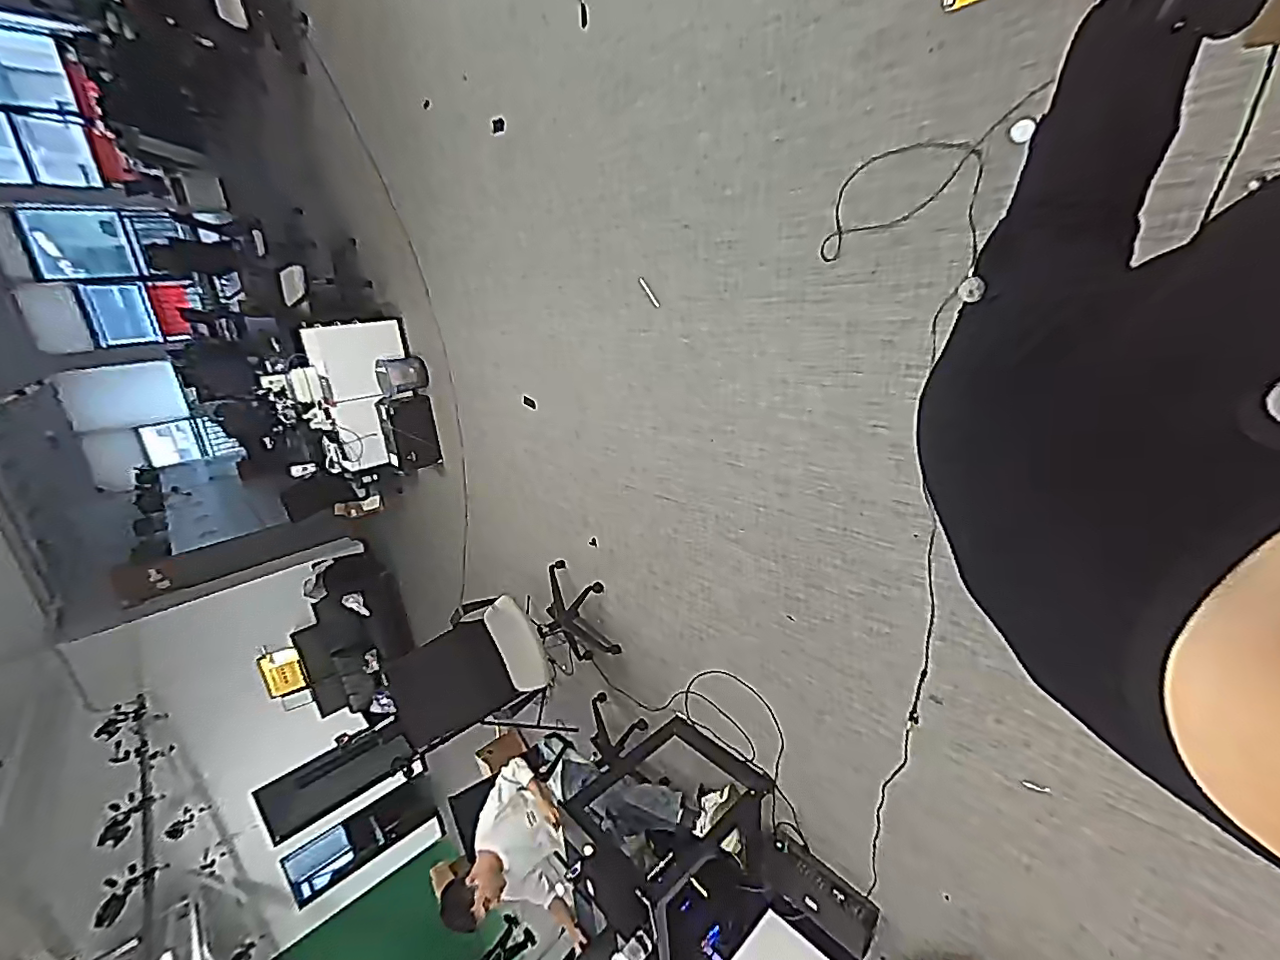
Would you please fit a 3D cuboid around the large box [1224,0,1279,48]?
[{"bbox_3d":[0.593,-0.453,0.237,0.408,0.320,0.320,22,125,42],"label":"large box"}]
